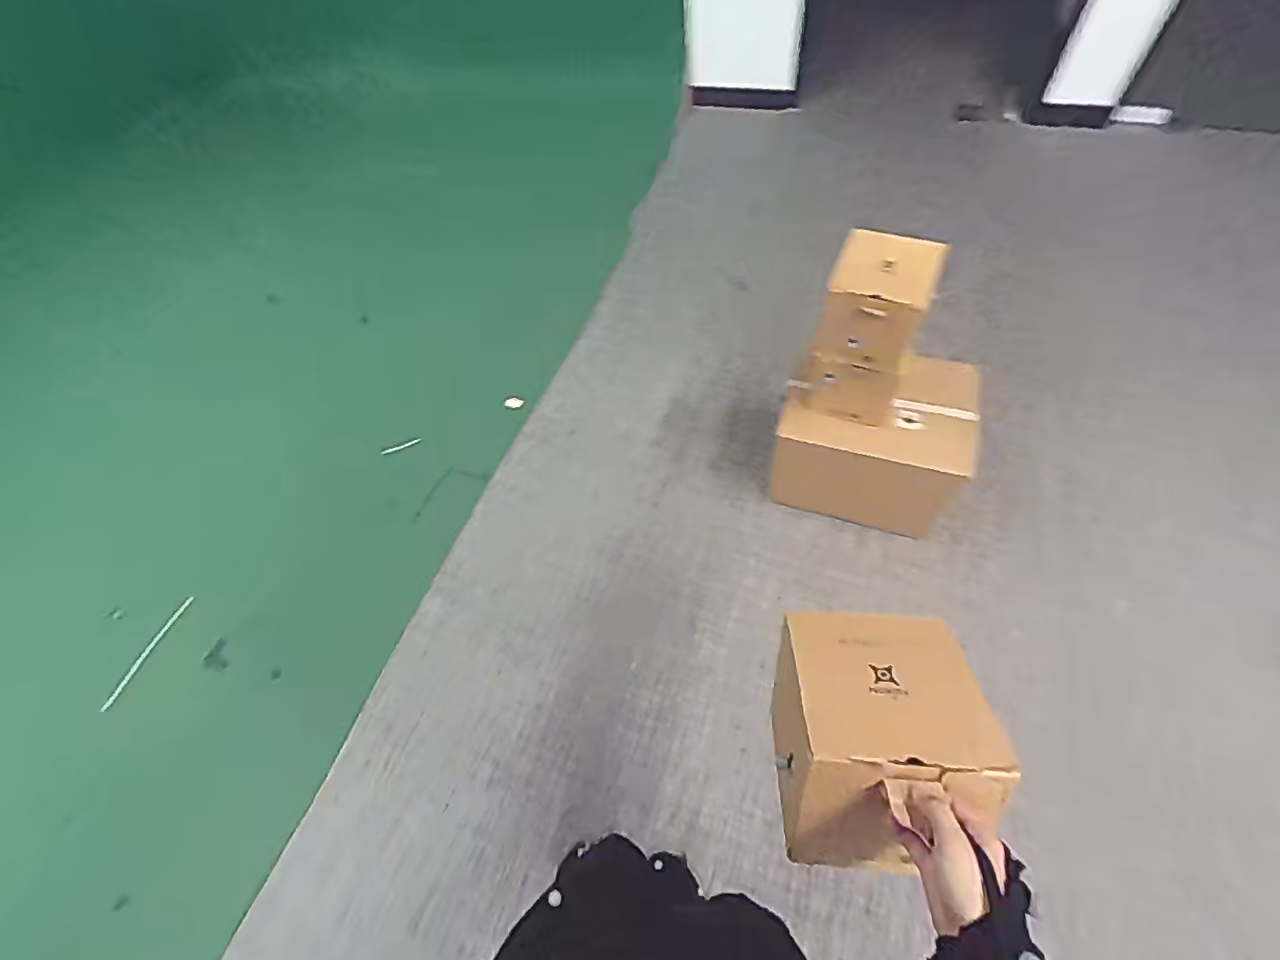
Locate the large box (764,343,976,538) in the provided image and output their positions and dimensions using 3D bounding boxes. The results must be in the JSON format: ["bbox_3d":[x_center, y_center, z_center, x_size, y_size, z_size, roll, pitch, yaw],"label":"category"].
[{"bbox_3d":[0.549,-0.094,1.346,0.408,0.320,0.320,14,63,14],"label":"large box"}]

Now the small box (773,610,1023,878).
[{"bbox_3d":[0.230,0.256,0.538,0.168,0.176,0.179,3,29,6],"label":"small box"}]

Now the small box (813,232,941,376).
[{"bbox_3d":[0.440,-0.331,1.024,0.168,0.176,0.179,19,64,17],"label":"small box"}]
